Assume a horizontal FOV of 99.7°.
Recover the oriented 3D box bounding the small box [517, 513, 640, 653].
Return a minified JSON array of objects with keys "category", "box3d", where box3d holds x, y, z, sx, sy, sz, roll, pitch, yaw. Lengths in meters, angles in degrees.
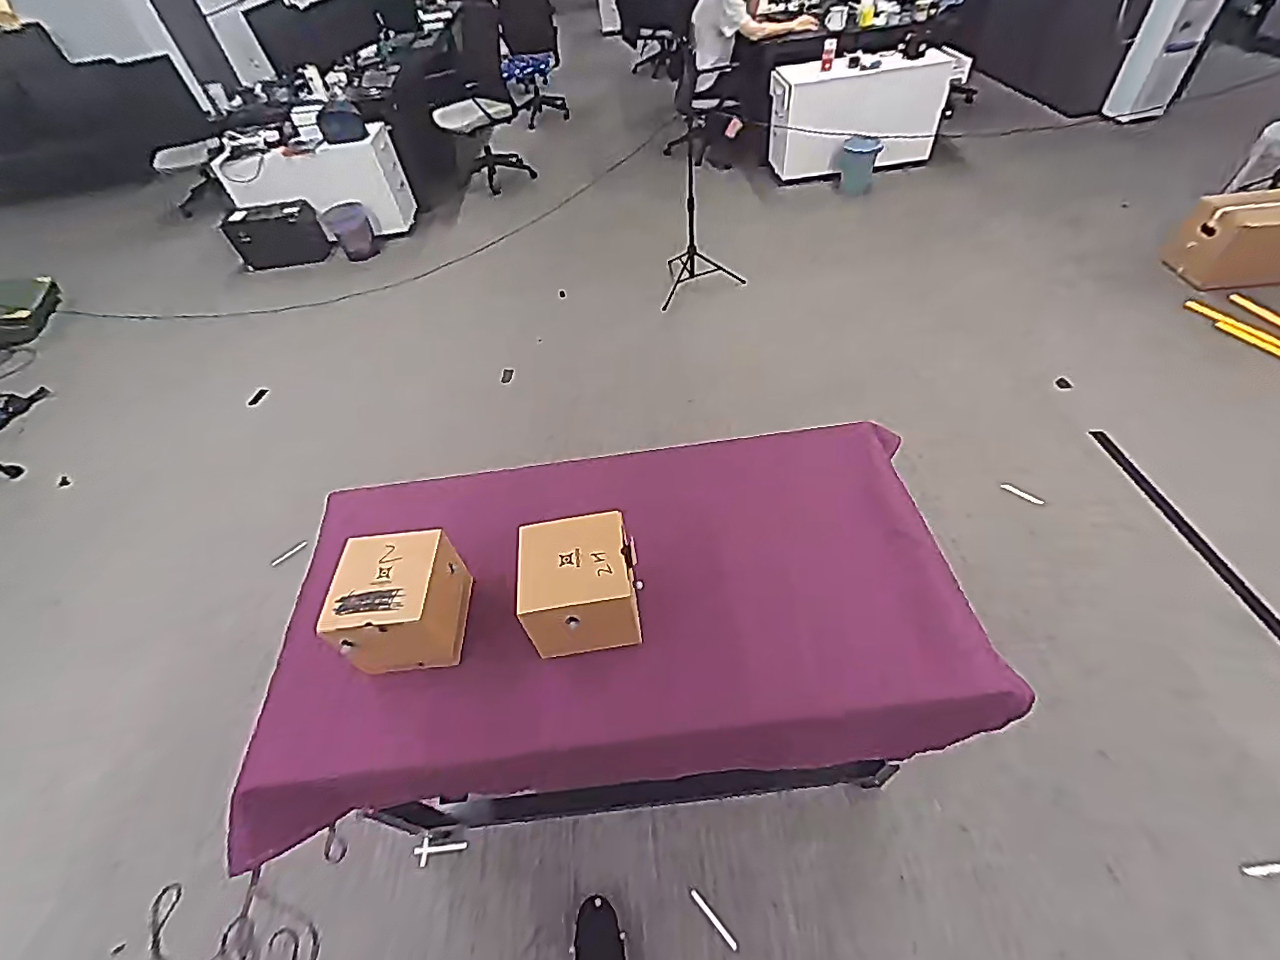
[{"category":"small box","box3d":[-0.100,0.180,0.925,0.179,0.176,0.168,-8,49,0]}]
